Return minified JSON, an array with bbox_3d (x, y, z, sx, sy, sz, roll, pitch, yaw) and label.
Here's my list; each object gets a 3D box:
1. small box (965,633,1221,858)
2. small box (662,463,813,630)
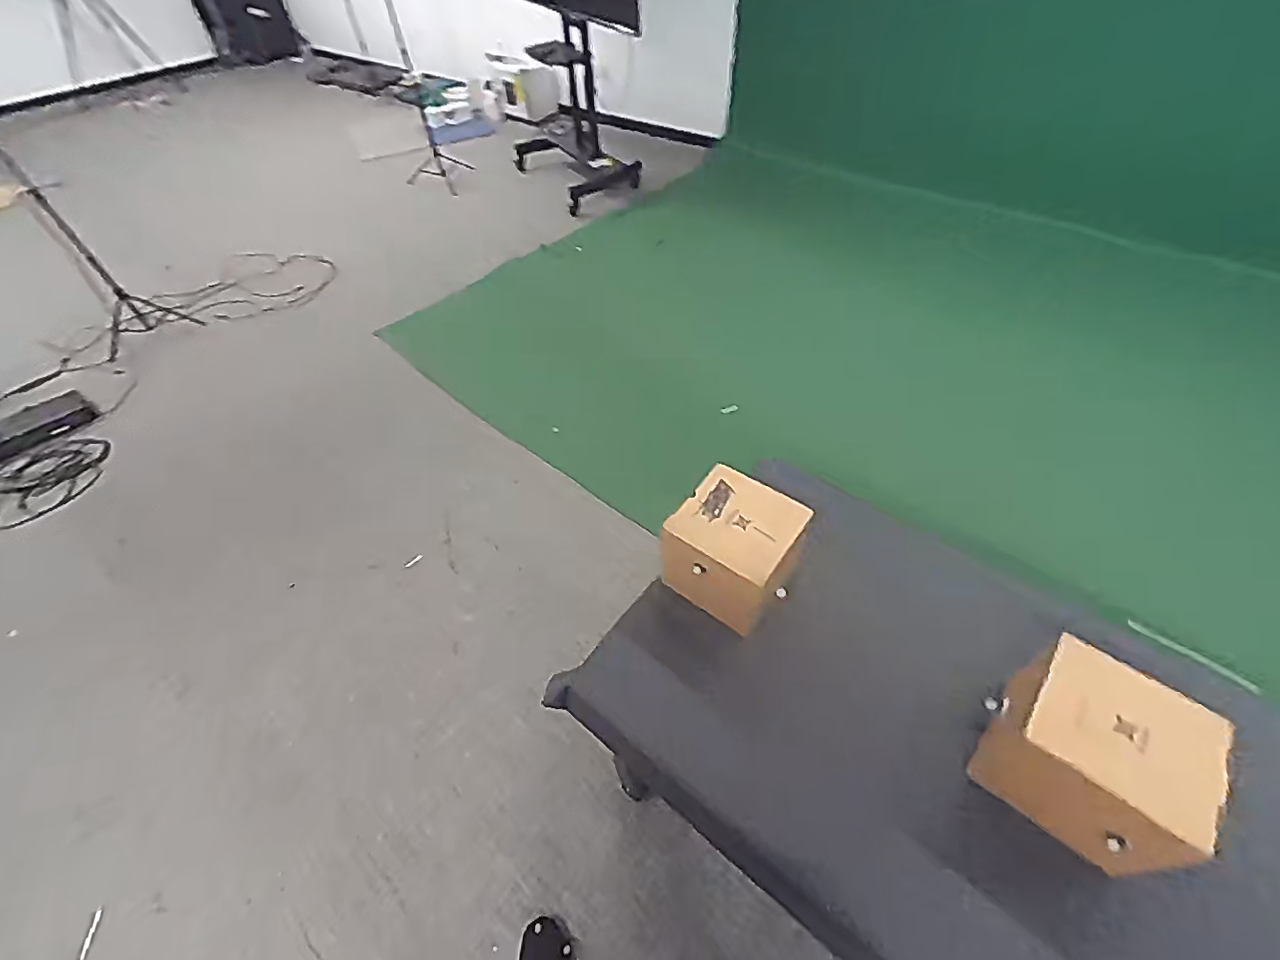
[{"bbox_3d":[0.553,0.334,0.678,0.179,0.176,0.168,30,54,26],"label":"small box"},{"bbox_3d":[0.148,0.110,0.876,0.179,0.176,0.168,30,55,23],"label":"small box"}]
